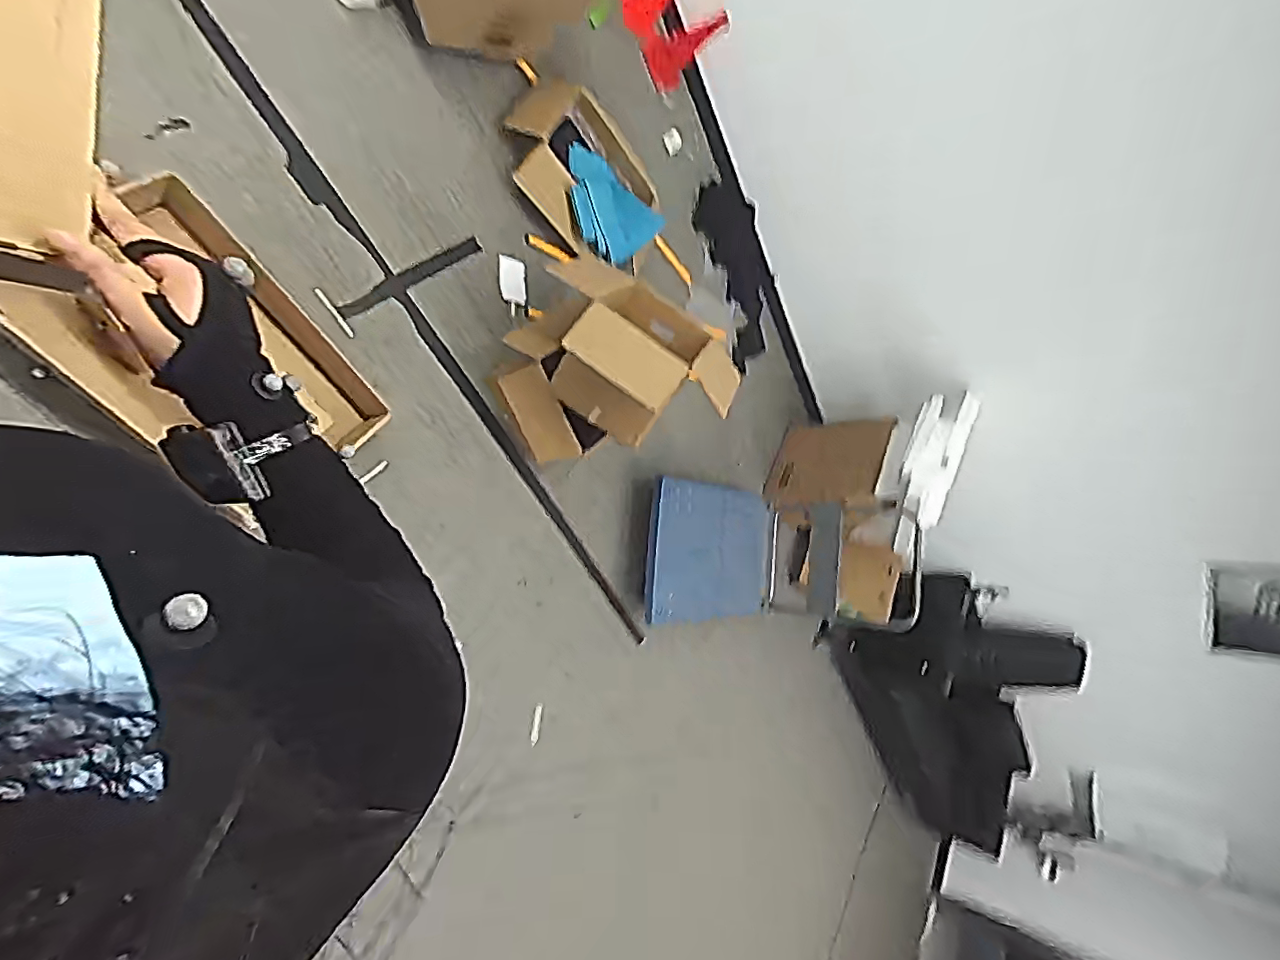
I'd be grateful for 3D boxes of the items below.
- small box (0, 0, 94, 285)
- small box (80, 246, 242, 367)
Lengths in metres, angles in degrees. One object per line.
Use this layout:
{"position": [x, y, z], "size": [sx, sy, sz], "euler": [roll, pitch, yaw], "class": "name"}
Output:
{"position": [-0.452, -0.233, 0.326], "size": [0.168, 0.176, 0.179], "euler": [3, 94, -48], "class": "small box"}
{"position": [-0.947, -0.339, 1.069], "size": [0.179, 0.176, 0.168], "euler": [-44, 121, -39], "class": "small box"}
